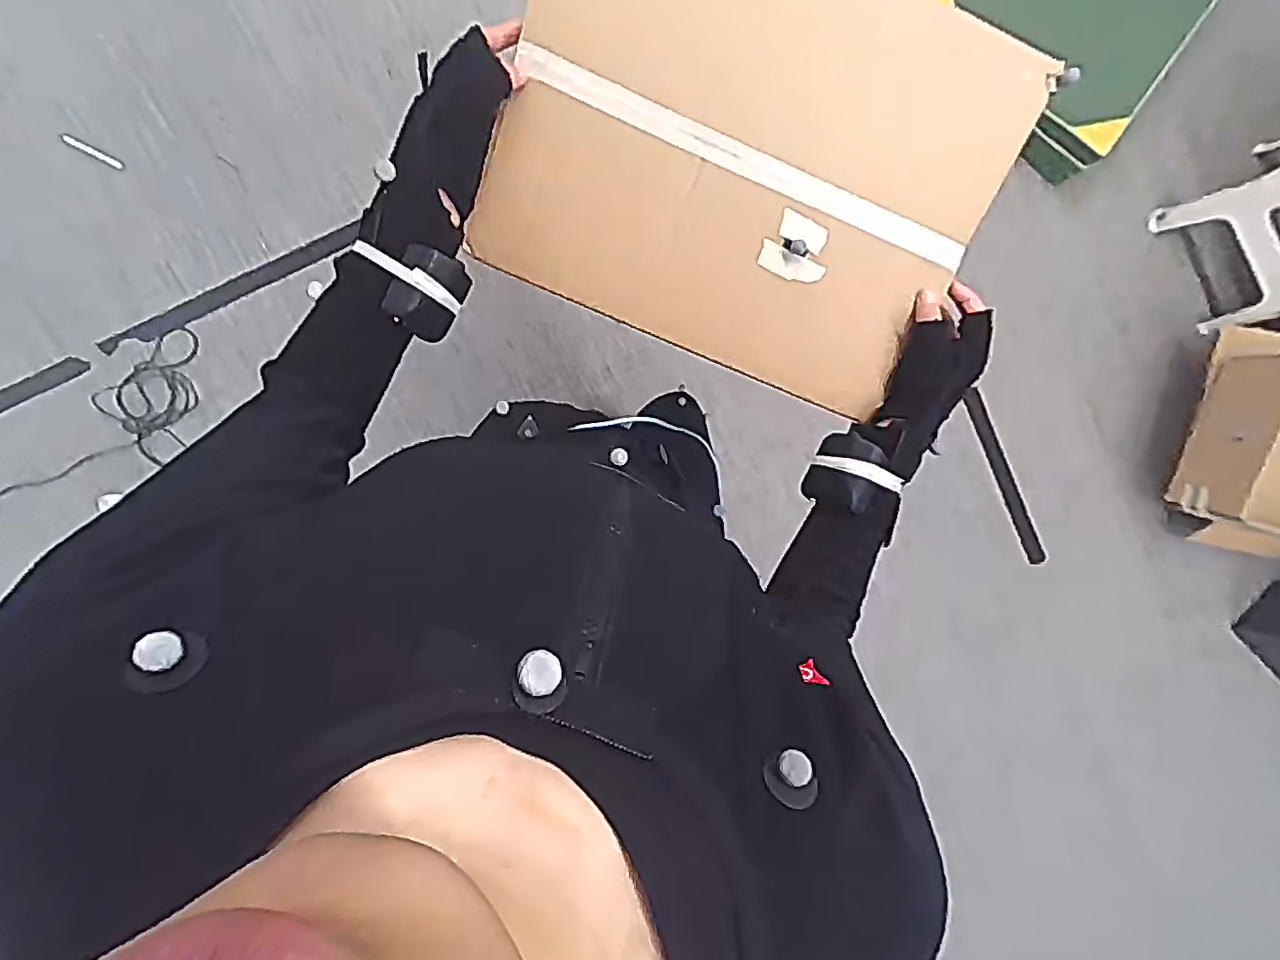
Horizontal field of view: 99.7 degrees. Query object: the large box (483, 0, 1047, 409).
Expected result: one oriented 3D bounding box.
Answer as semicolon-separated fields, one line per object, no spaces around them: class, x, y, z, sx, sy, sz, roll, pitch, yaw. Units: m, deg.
large box;0.094;-0.314;0.603;0.408;0.320;0.320;22;107;-7
